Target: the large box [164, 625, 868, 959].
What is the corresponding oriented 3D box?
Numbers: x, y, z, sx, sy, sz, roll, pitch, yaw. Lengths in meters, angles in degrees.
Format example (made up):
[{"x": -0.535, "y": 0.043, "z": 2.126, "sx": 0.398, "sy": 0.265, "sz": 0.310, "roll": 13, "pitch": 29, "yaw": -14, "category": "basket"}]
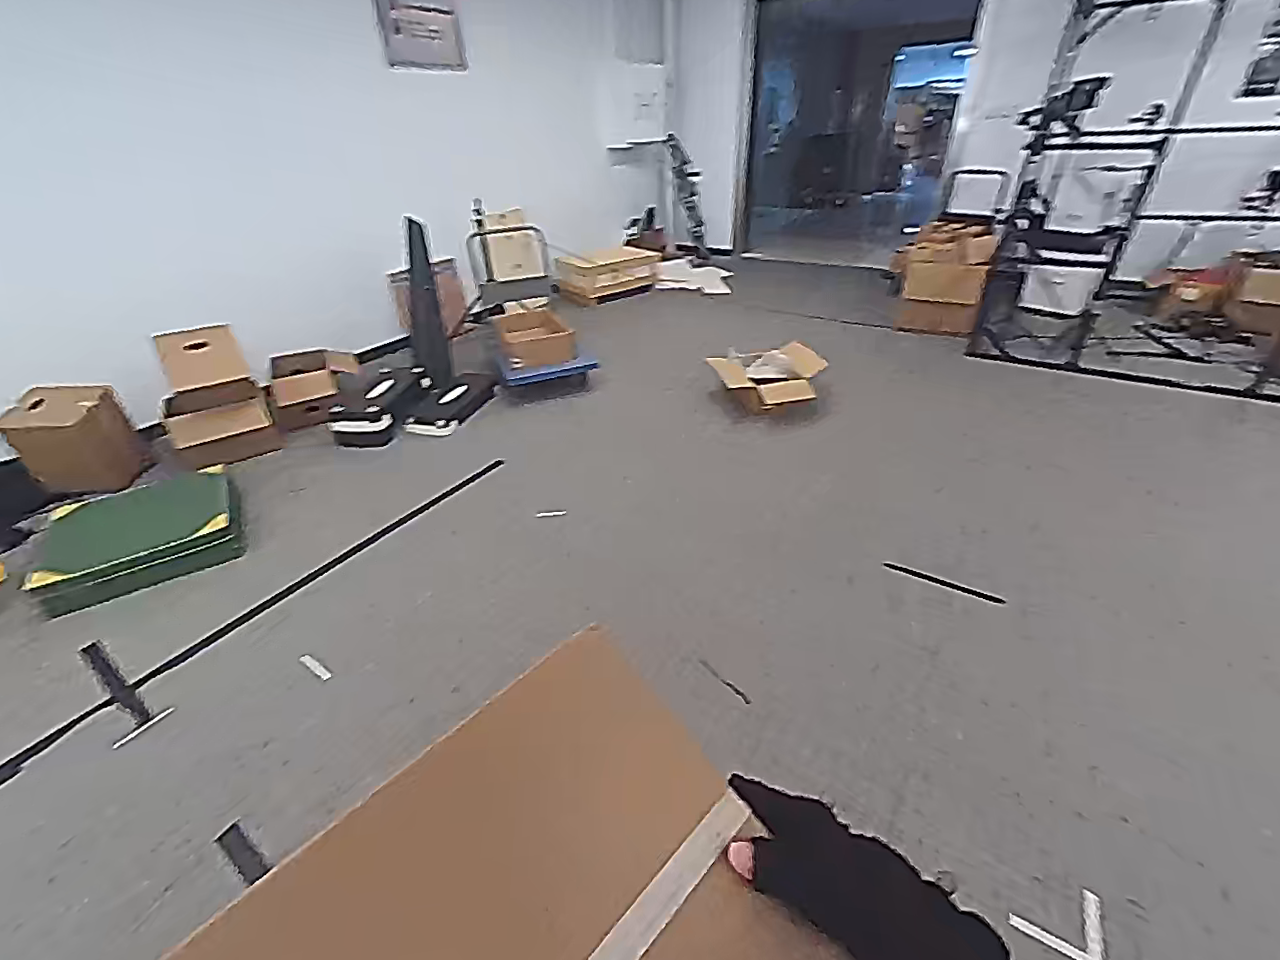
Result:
[{"x": -0.118, "y": 0.388, "z": 0.391, "sx": 0.408, "sy": 0.320, "sz": 0.320, "roll": -33, "pitch": 75, "yaw": -33, "category": "large box"}]
